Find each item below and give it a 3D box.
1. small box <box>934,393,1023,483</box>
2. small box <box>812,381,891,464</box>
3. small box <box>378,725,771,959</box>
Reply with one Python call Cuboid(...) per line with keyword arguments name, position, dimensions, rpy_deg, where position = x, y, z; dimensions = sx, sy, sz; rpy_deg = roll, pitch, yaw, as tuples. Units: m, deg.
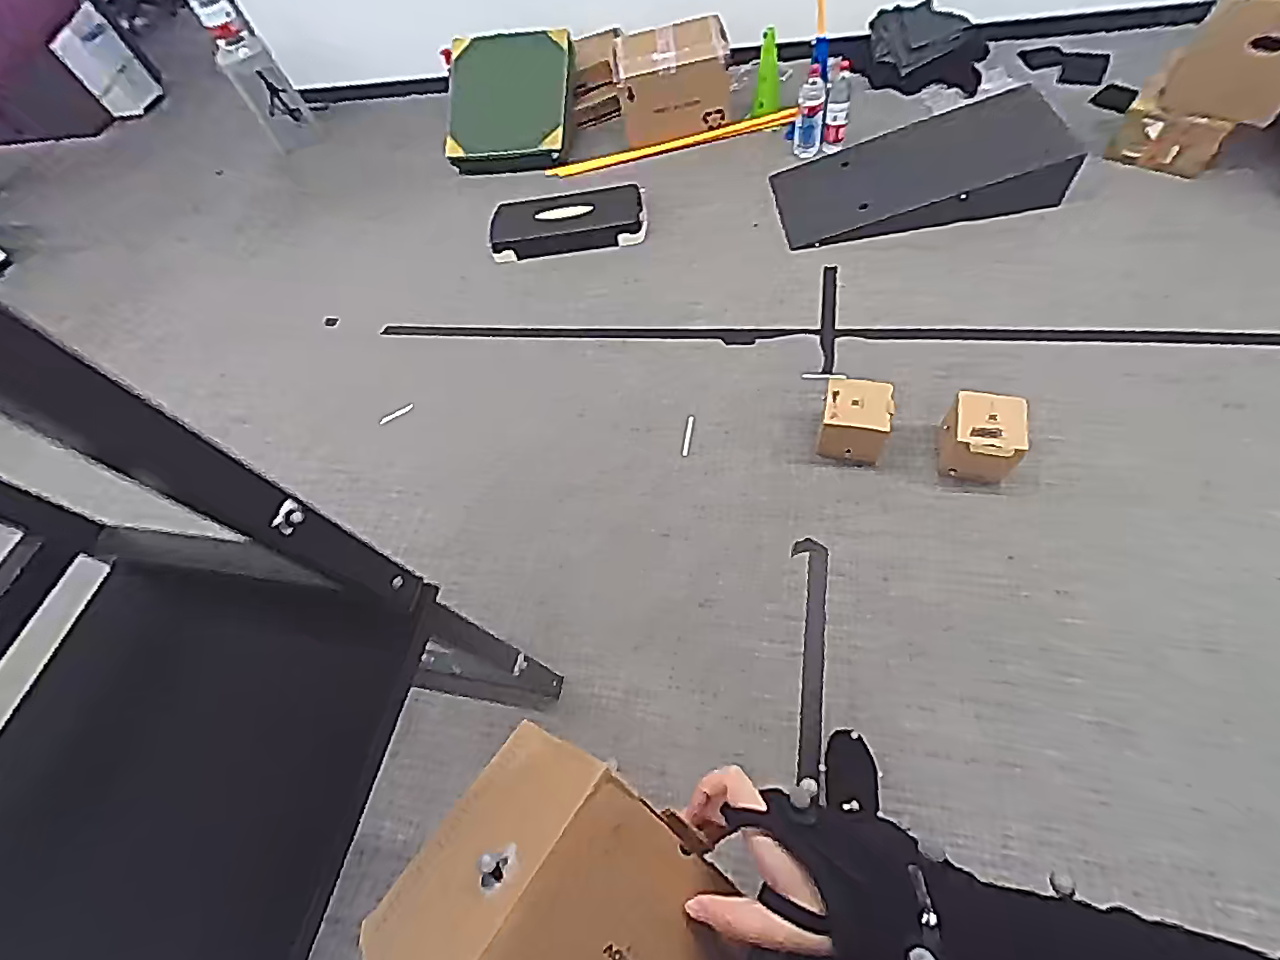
Cuboid(name="small box", position=(0.931, -0.111, 1.496), dimensions=(0.168, 0.176, 0.179), rpy_deg=(10, 62, 15))
Cuboid(name="small box", position=(0.614, -0.164, 1.580), dimensions=(0.179, 0.176, 0.168), rpy_deg=(10, 62, 14))
Cuboid(name="small box", position=(-0.052, 0.300, 0.371), dimensions=(0.168, 0.176, 0.179), rpy_deg=(49, 60, -11))
